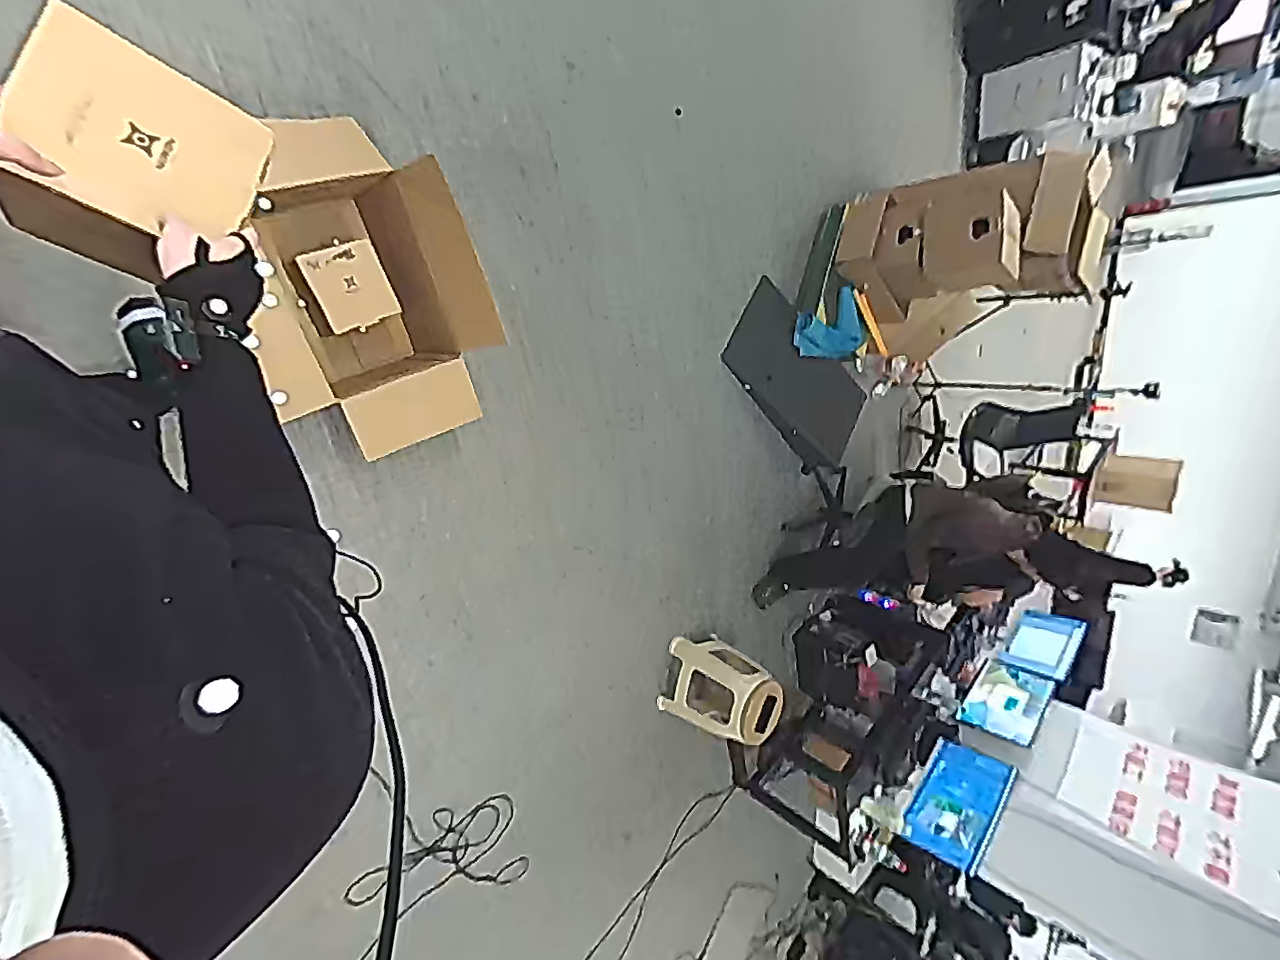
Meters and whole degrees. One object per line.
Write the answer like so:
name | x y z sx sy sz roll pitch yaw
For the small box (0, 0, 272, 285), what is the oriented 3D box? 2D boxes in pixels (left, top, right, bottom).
small box | -0.517 -0.323 0.550 0.179 0.176 0.168 23 72 -40
